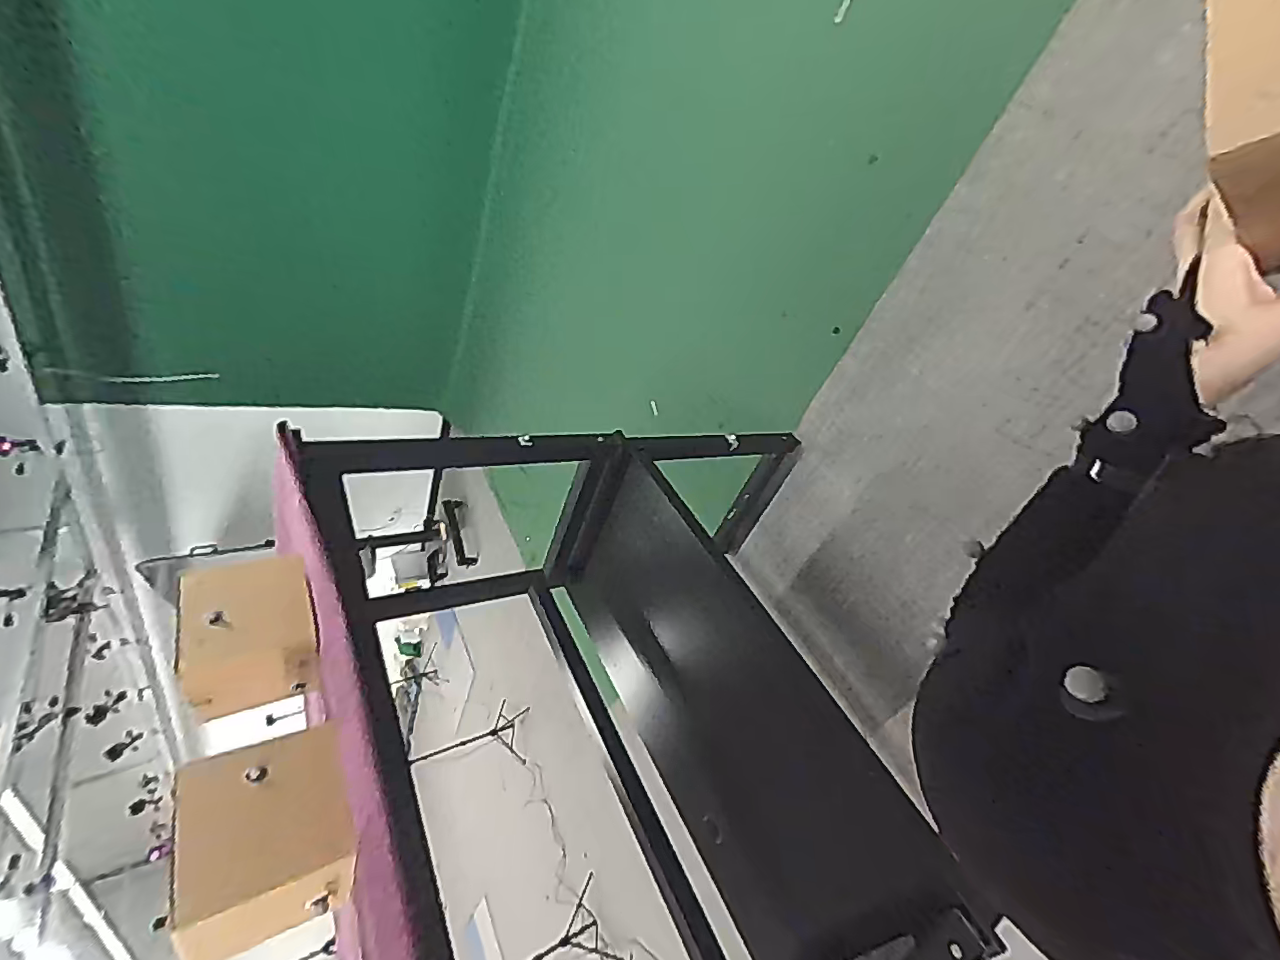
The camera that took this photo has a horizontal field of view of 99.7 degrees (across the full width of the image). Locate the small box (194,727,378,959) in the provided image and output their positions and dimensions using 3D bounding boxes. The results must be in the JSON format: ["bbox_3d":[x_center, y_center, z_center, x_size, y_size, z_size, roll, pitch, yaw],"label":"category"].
[{"bbox_3d":[-0.443,0.440,0.681,0.179,0.176,0.168,51,134,36],"label":"small box"}]

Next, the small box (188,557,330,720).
[{"bbox_3d":[-0.611,0.249,0.882,0.179,0.176,0.168,55,137,34],"label":"small box"}]
